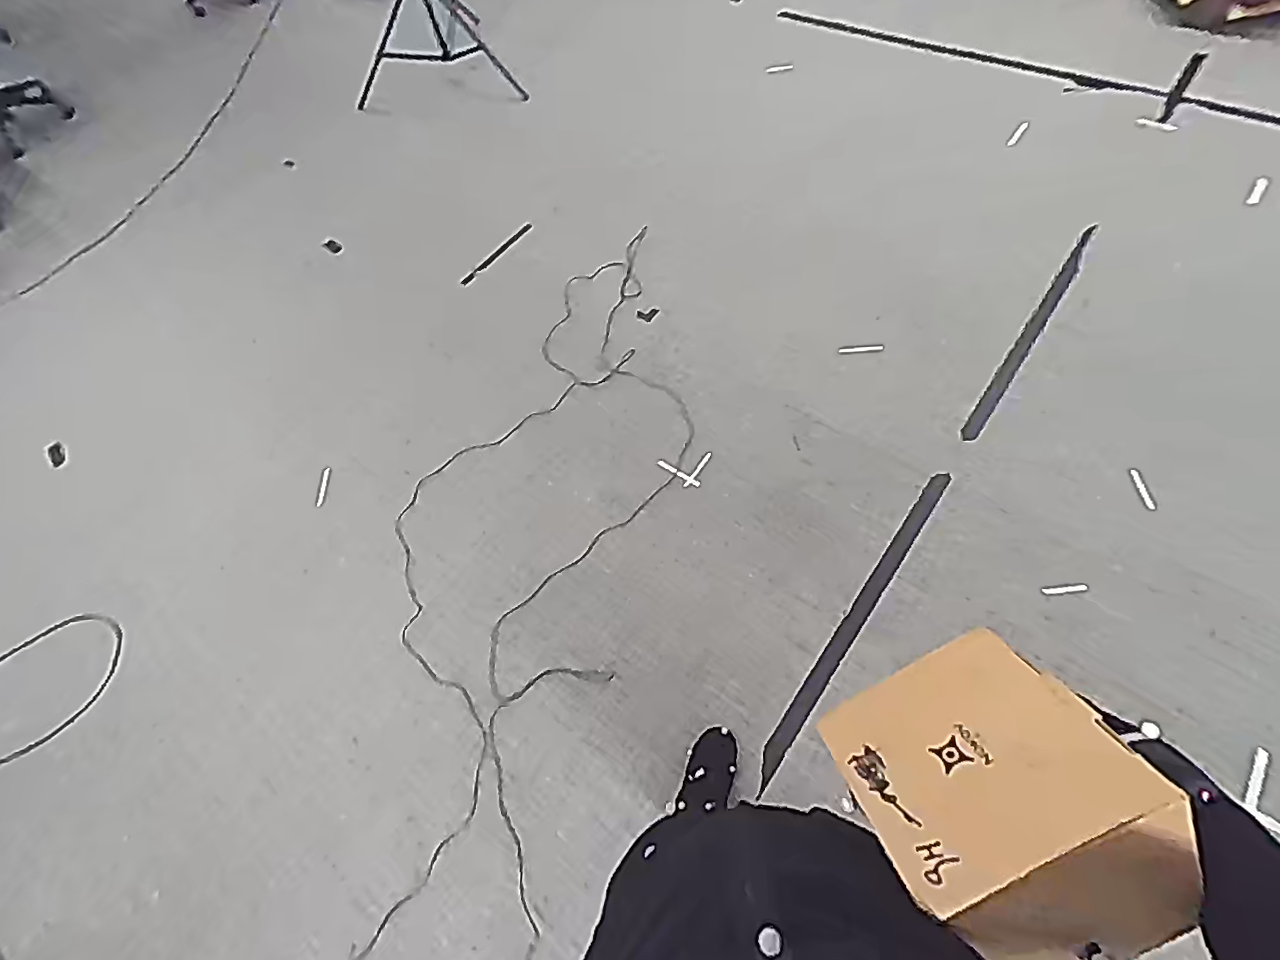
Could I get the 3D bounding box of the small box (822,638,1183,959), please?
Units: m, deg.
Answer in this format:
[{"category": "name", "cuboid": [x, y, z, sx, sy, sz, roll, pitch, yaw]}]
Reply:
[{"category": "small box", "cuboid": [0.287, 0.274, 0.445, 0.179, 0.176, 0.168, -30, 21, 4]}]
